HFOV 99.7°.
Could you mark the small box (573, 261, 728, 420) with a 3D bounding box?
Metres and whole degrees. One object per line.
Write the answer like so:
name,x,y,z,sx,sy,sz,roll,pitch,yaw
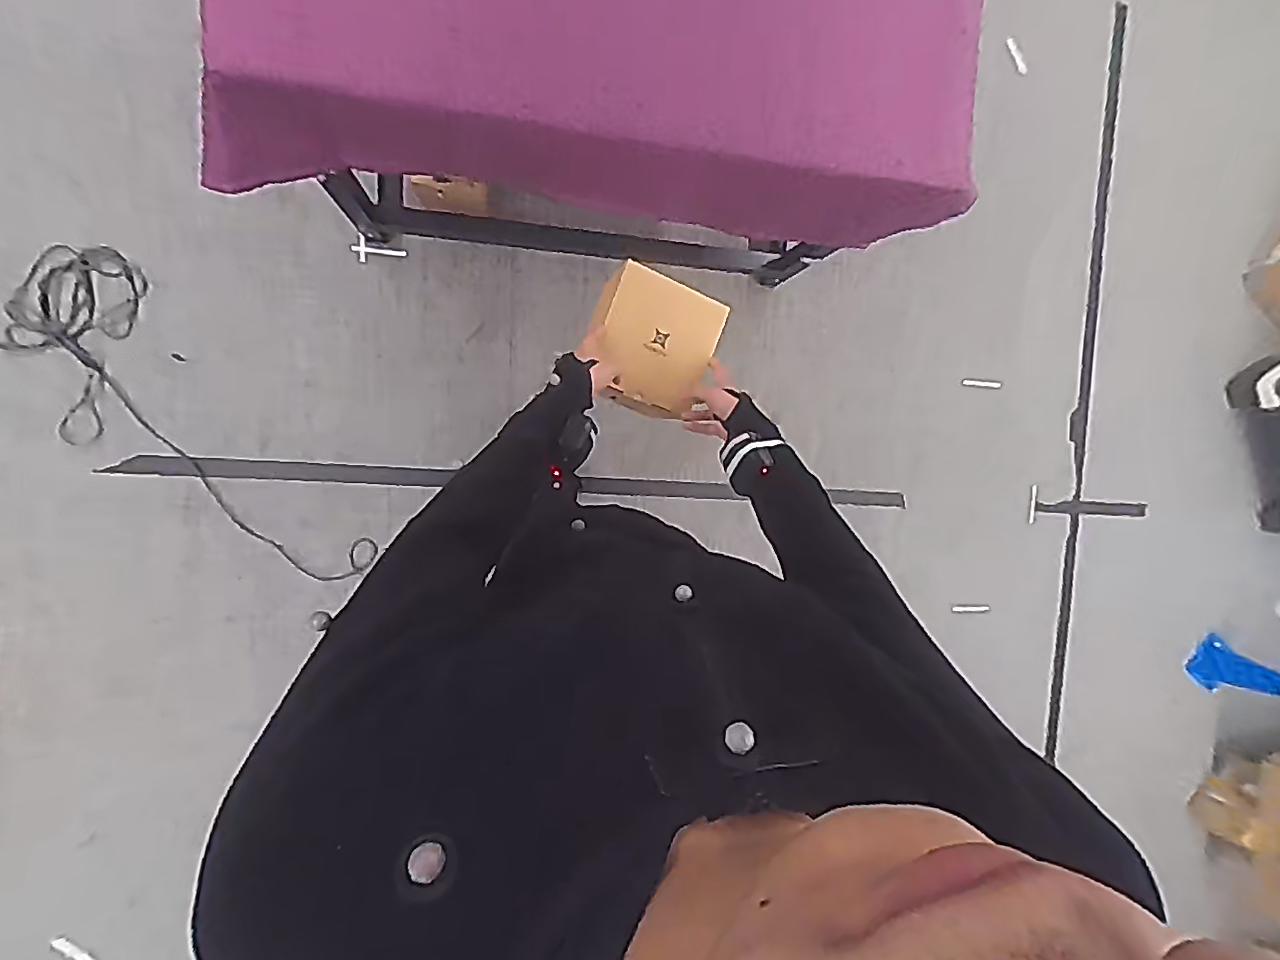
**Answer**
small box,0.005,-0.204,0.837,0.168,0.176,0.179,20,92,-17
